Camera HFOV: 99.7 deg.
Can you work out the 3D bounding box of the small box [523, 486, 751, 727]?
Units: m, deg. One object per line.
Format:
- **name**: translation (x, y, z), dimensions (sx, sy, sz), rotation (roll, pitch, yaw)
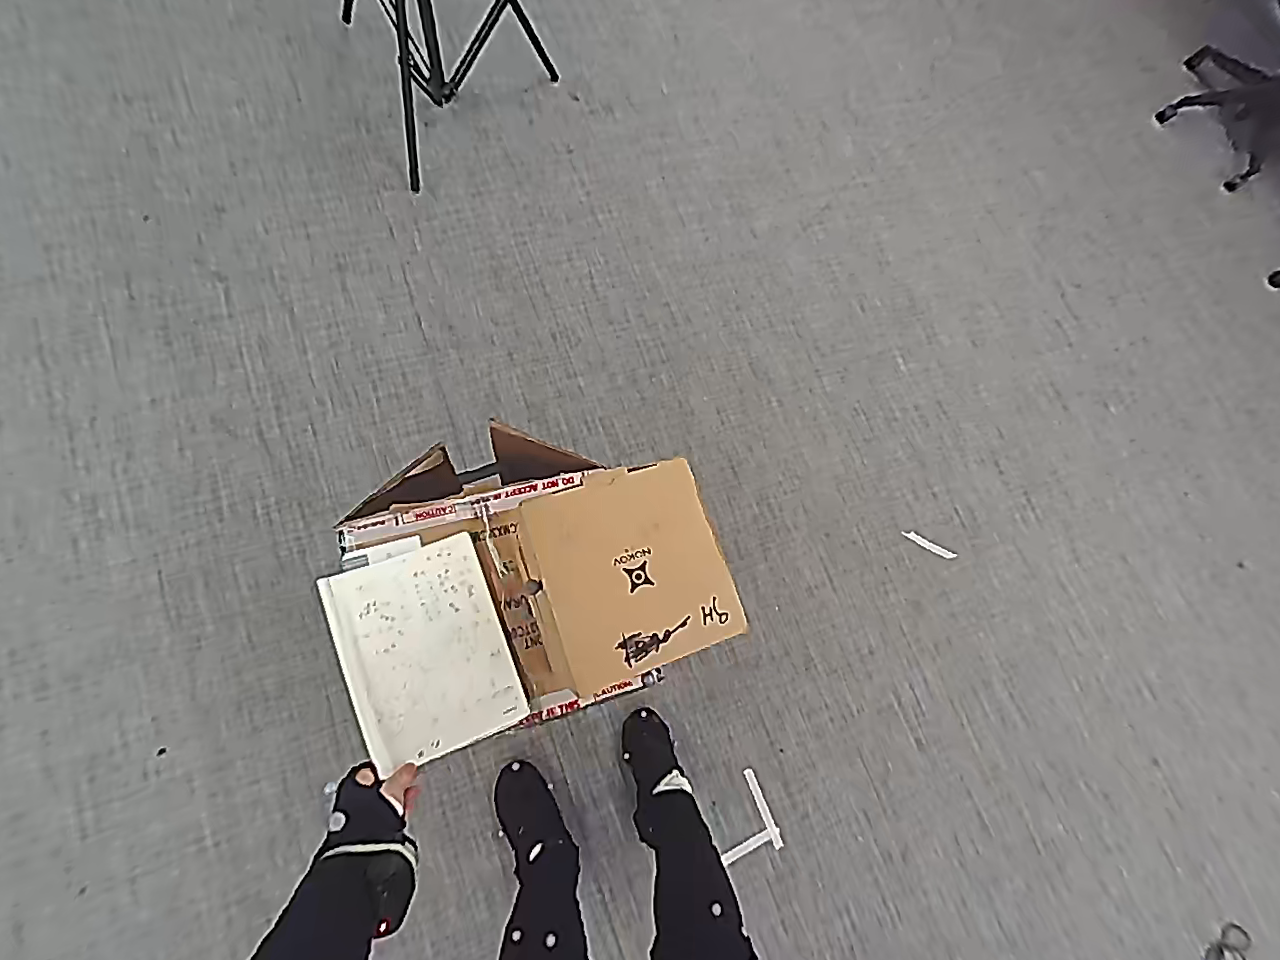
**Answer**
- **small box**: translation (-0.018, 0.128, 0.557), dimensions (0.168, 0.176, 0.179), rotation (-16, 78, -17)
